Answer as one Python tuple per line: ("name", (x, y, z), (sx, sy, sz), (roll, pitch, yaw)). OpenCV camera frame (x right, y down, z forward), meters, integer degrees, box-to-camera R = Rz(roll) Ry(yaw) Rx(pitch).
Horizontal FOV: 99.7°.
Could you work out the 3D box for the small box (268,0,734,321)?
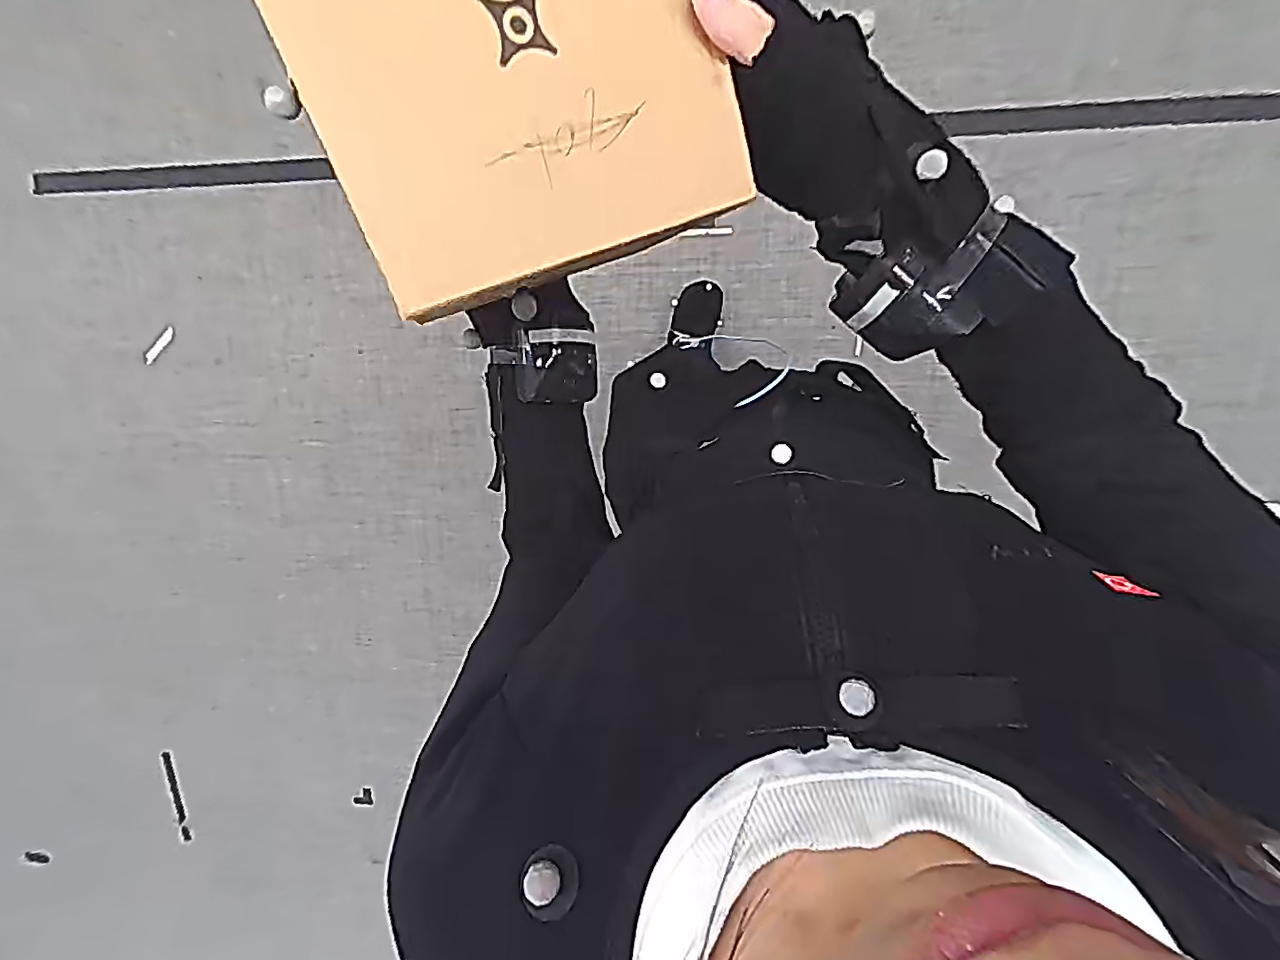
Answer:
("small box", (-0.078, -0.196, 0.289), (0.168, 0.176, 0.179), (-23, 110, -12))
